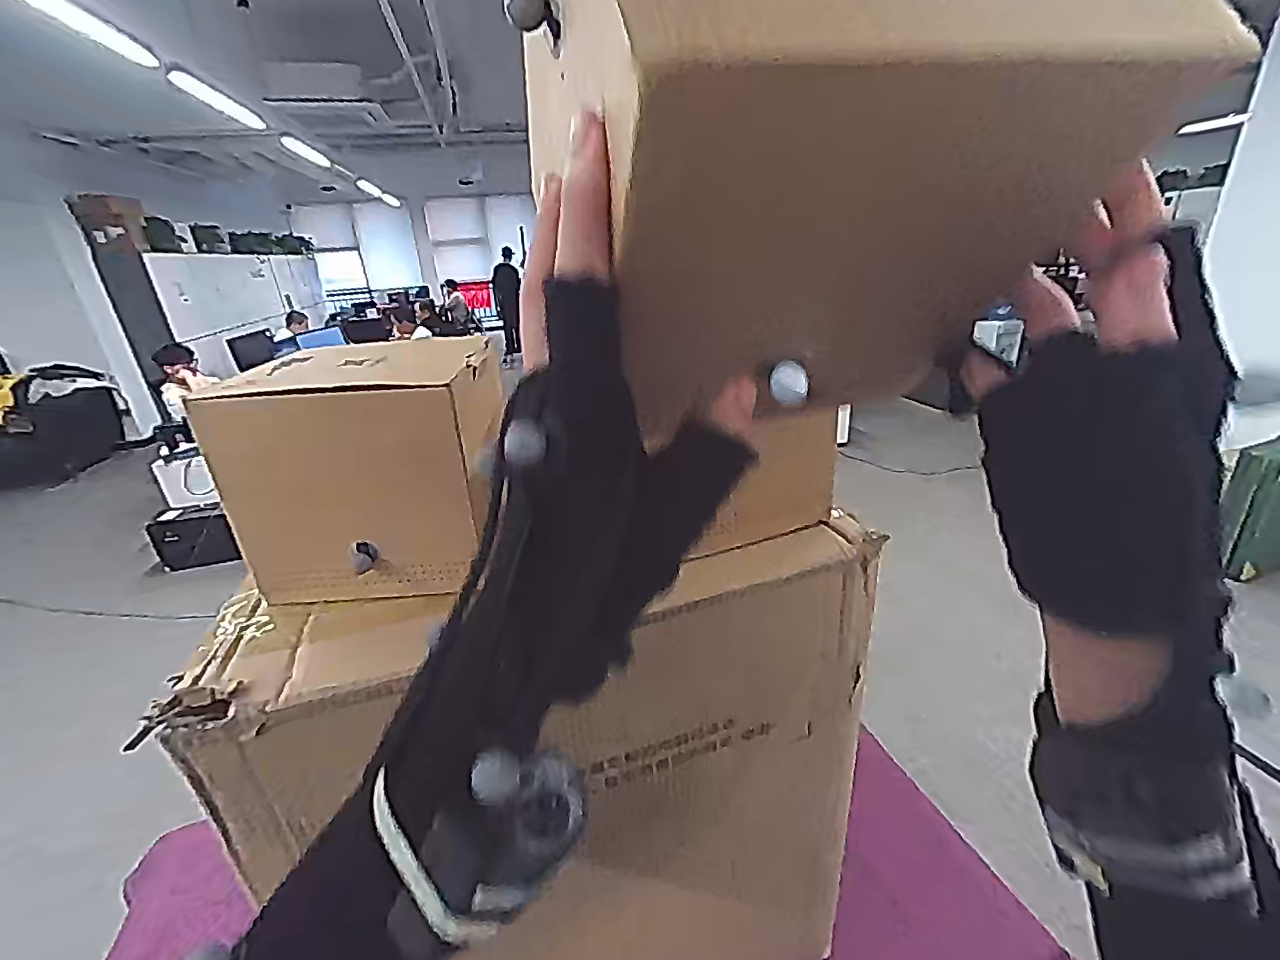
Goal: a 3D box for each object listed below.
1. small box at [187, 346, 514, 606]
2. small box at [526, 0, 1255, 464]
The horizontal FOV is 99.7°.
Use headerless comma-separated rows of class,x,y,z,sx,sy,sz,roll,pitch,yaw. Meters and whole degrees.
small box,-0.211,-0.010,0.460,0.179,0.176,0.168,-3,25,-3
small box,0.046,-0.127,0.221,0.168,0.179,0.176,-9,-20,-12
